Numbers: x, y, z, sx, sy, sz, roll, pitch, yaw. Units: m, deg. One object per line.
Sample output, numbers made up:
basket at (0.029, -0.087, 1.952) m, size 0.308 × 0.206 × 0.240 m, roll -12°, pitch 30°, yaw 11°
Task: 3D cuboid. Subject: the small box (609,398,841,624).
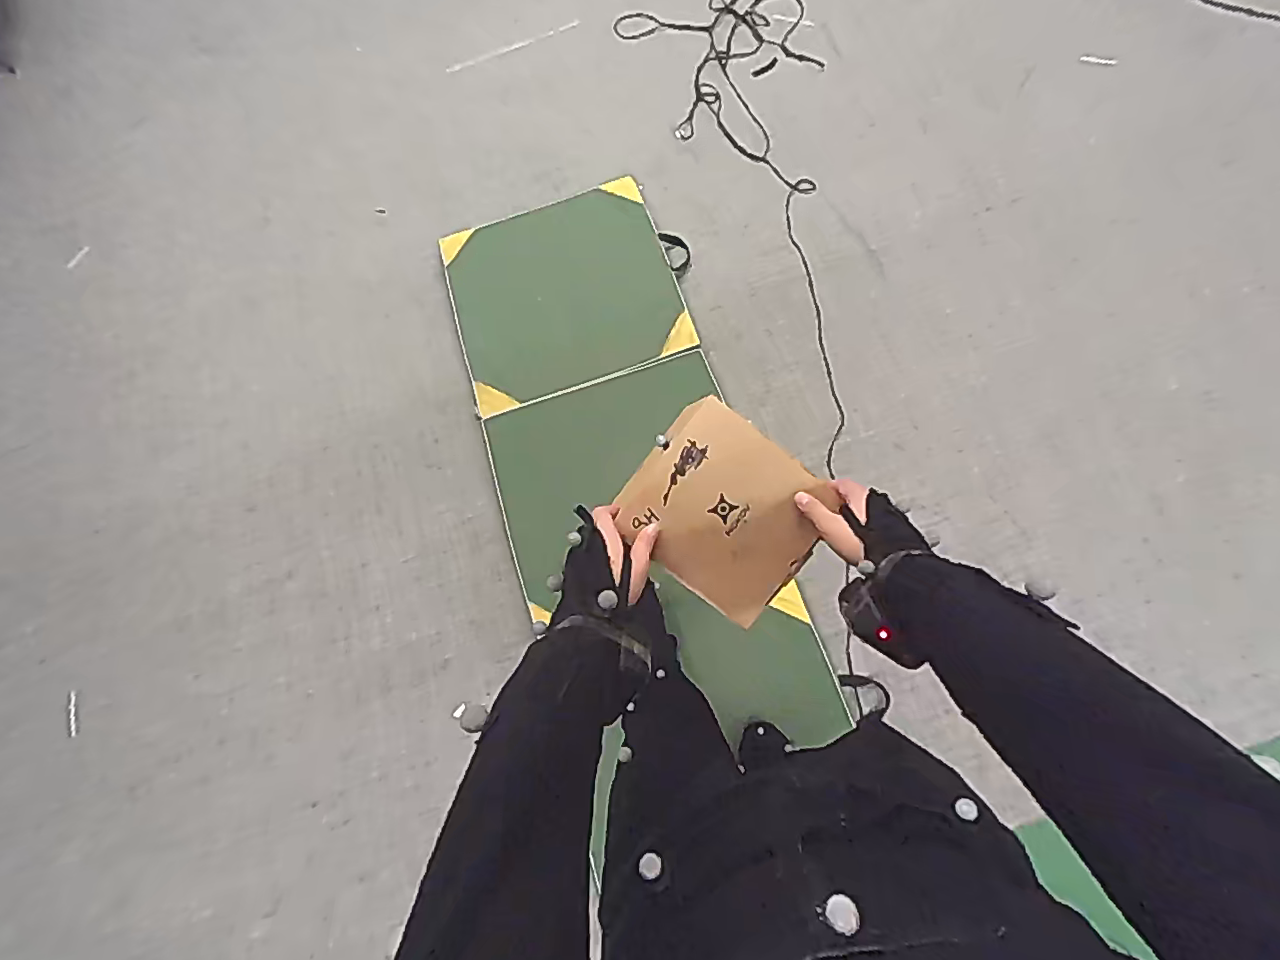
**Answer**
small box at (0.083, 0.026, 0.615) m, size 0.179 × 0.176 × 0.168 m, roll 37°, pitch 91°, yaw -4°
